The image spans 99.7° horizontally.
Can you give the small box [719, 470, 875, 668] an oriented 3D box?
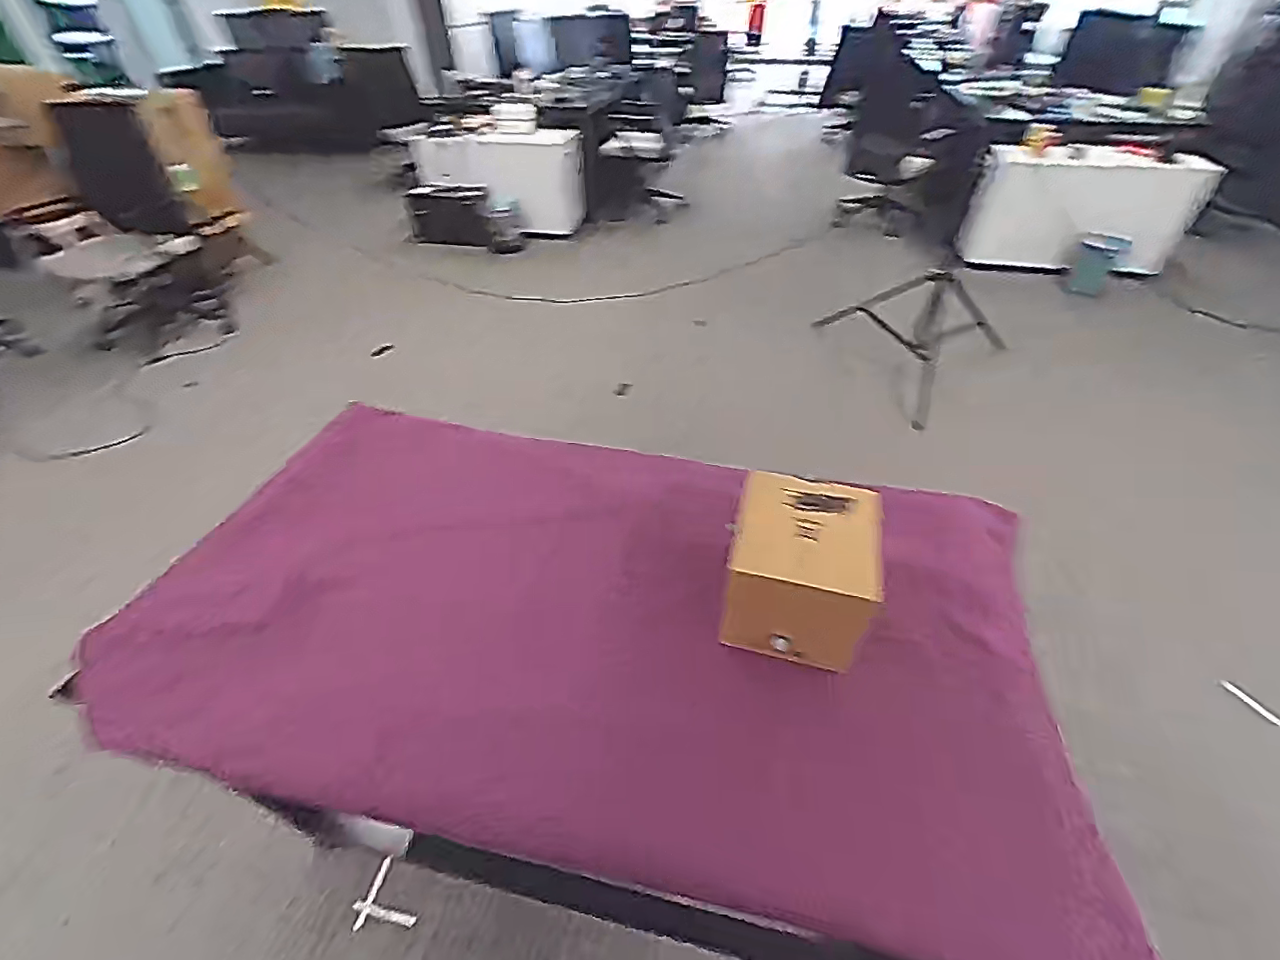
[{"bbox_3d":[0.203,0.116,0.720,0.168,0.176,0.179,10,45,12],"label":"small box"}]
